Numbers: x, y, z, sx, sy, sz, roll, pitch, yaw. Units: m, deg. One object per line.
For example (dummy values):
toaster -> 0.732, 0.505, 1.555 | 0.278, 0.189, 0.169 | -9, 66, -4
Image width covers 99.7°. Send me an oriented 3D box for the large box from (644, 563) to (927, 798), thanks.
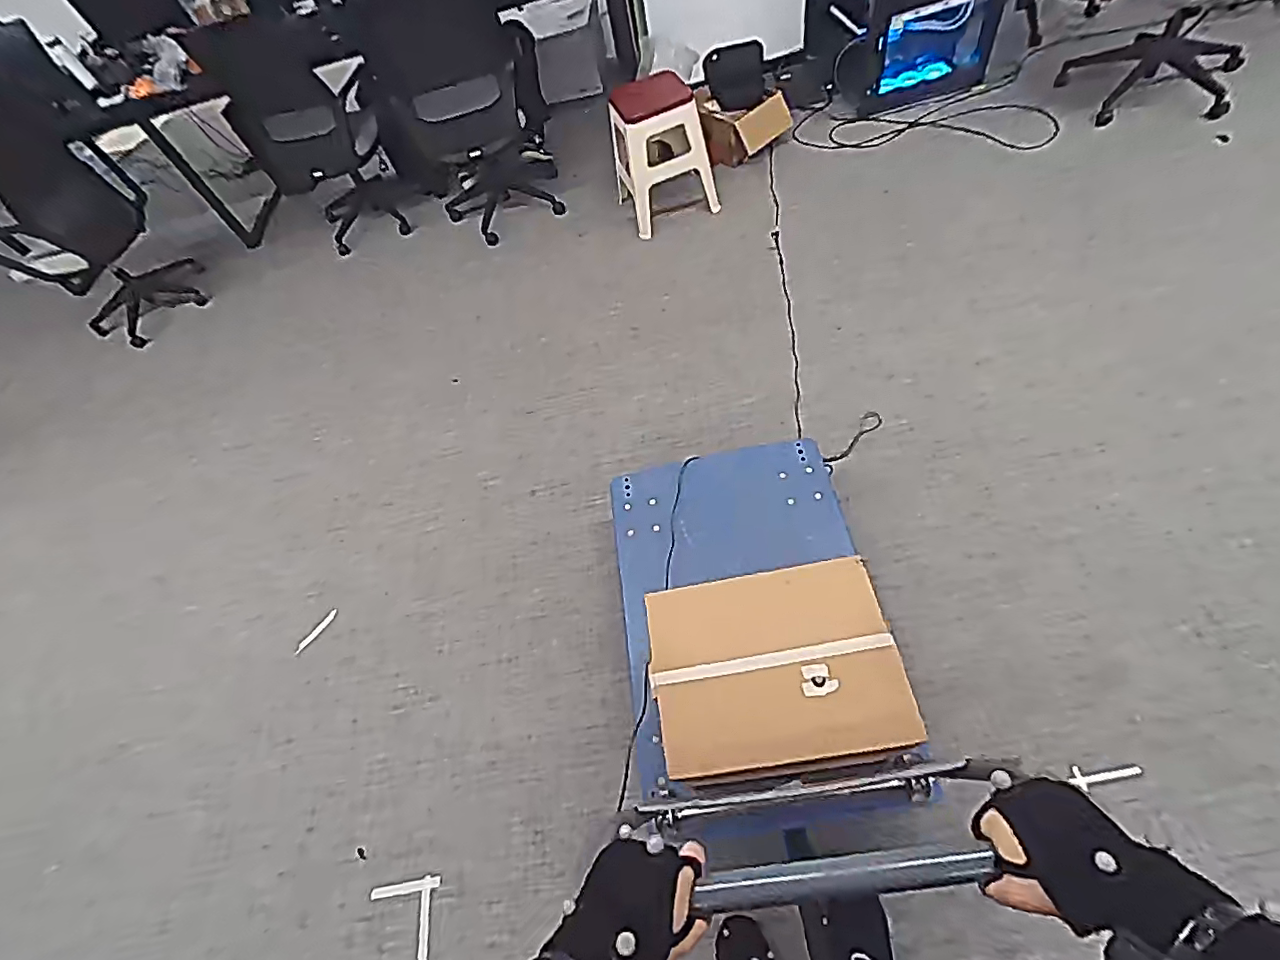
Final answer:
large box -> 0.244, 0.394, 1.027 | 0.408, 0.320, 0.320 | -12, 58, 5
